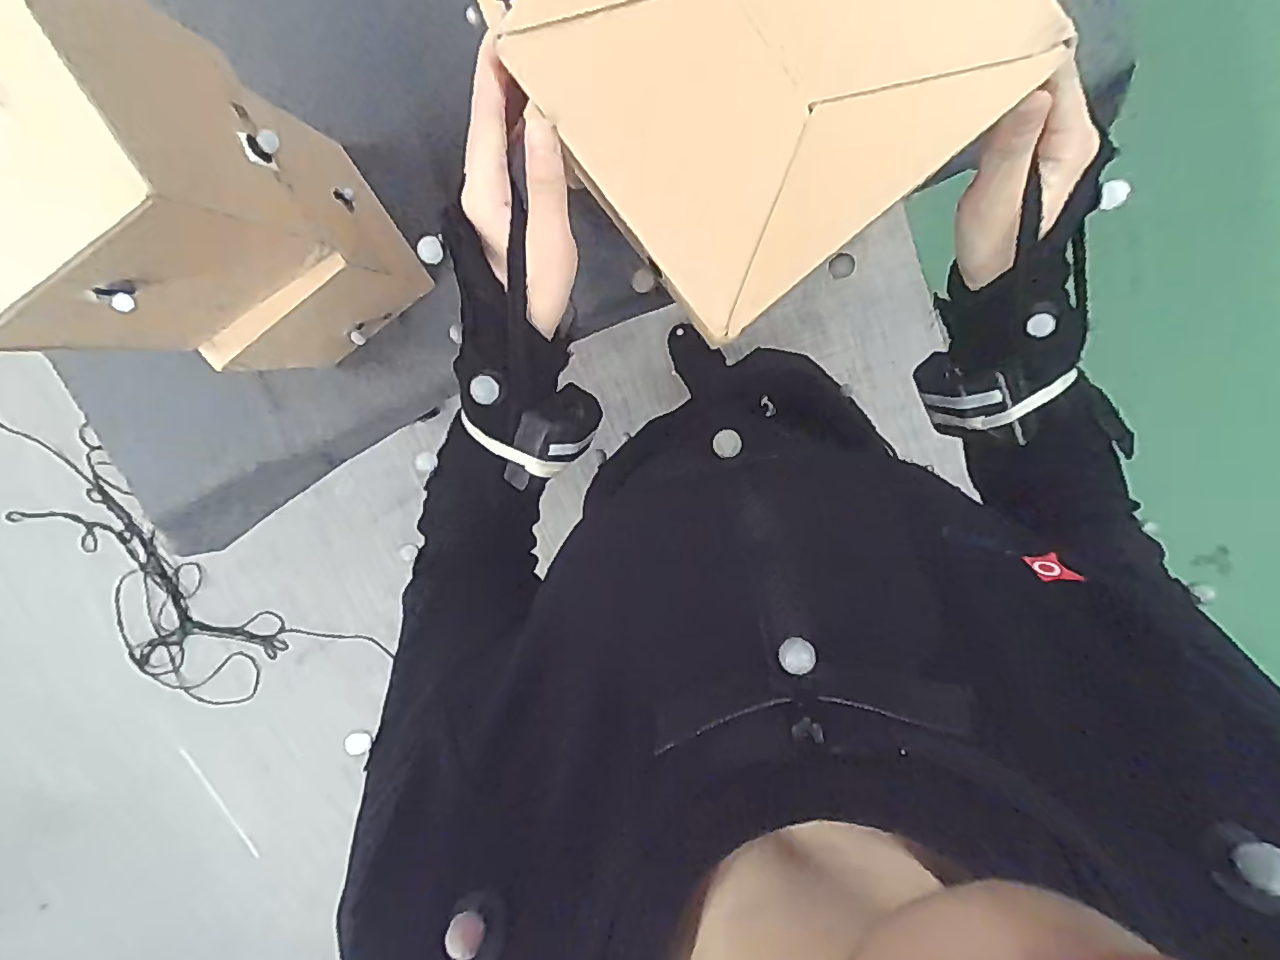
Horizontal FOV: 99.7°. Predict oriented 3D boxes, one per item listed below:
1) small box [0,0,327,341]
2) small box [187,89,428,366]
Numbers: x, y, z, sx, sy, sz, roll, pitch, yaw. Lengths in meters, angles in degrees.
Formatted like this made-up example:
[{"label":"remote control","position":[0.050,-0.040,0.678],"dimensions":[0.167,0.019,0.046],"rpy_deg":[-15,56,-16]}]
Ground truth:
[{"label":"small box","position":[-0.366,-0.204,0.366],"dimensions":[0.179,0.176,0.168],"rpy_deg":[-28,101,10]},{"label":"small box","position":[-0.349,-0.228,0.526],"dimensions":[0.168,0.176,0.179],"rpy_deg":[-31,100,12]}]
